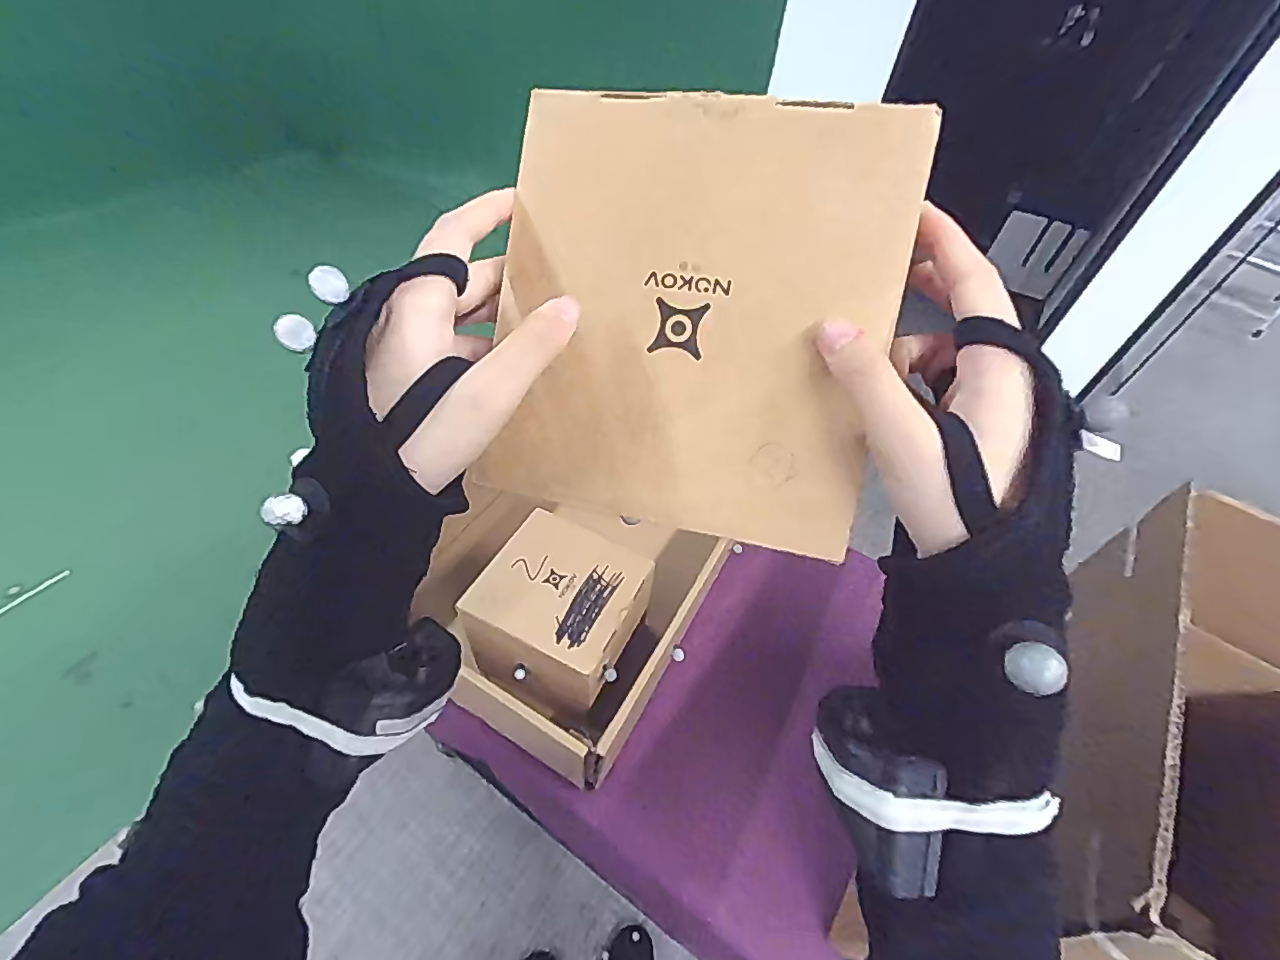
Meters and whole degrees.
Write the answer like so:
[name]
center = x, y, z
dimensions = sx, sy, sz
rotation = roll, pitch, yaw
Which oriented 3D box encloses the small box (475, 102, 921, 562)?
[small box]
center = 0.033, -0.070, 0.306
dimensions = 0.168, 0.179, 0.176
rotation = 11, 5, 12
